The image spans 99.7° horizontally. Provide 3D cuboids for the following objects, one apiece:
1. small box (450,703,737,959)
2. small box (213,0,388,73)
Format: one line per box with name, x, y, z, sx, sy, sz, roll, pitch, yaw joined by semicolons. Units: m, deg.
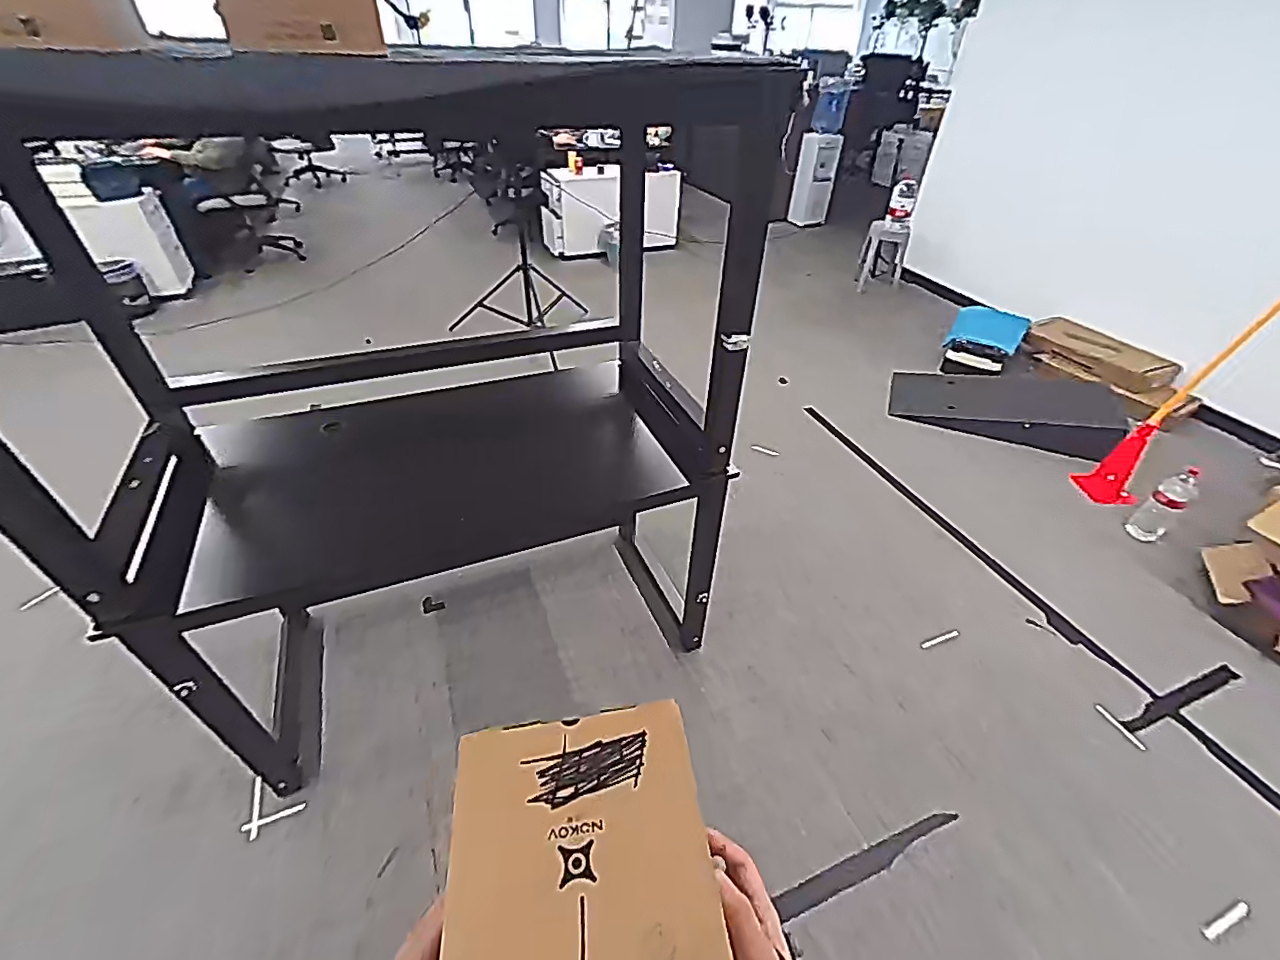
small box;-0.032;0.299;0.402;0.168;0.176;0.179;-8;41;-4
small box;-0.405;-0.587;0.637;0.168;0.176;0.179;-13;40;-18
